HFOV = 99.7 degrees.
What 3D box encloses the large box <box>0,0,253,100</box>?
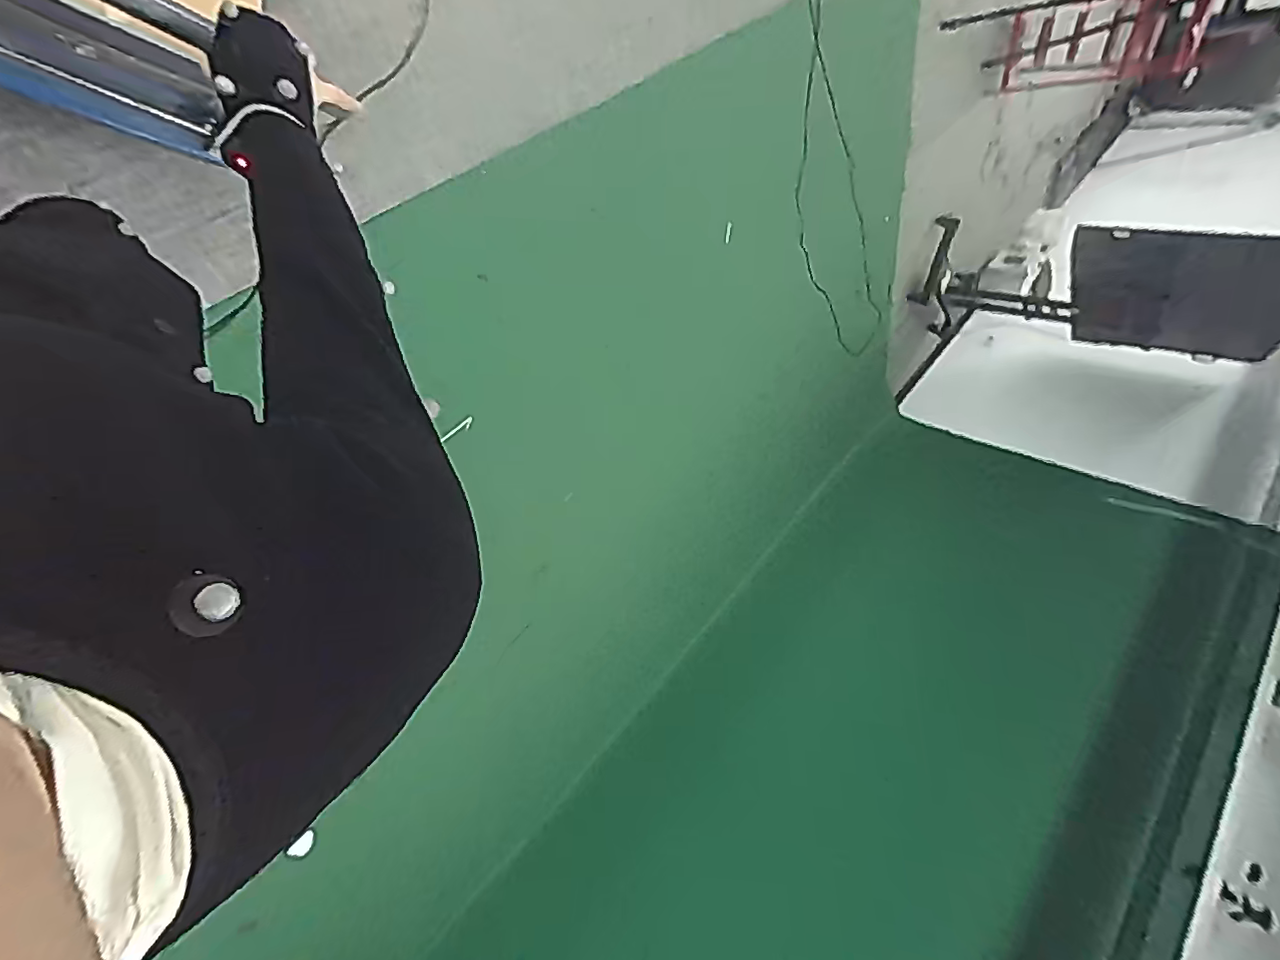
[{"bbox_3d":[-0.771,-0.847,0.772,0.320,0.320,0.408,-1,111,-50],"label":"large box"}]
